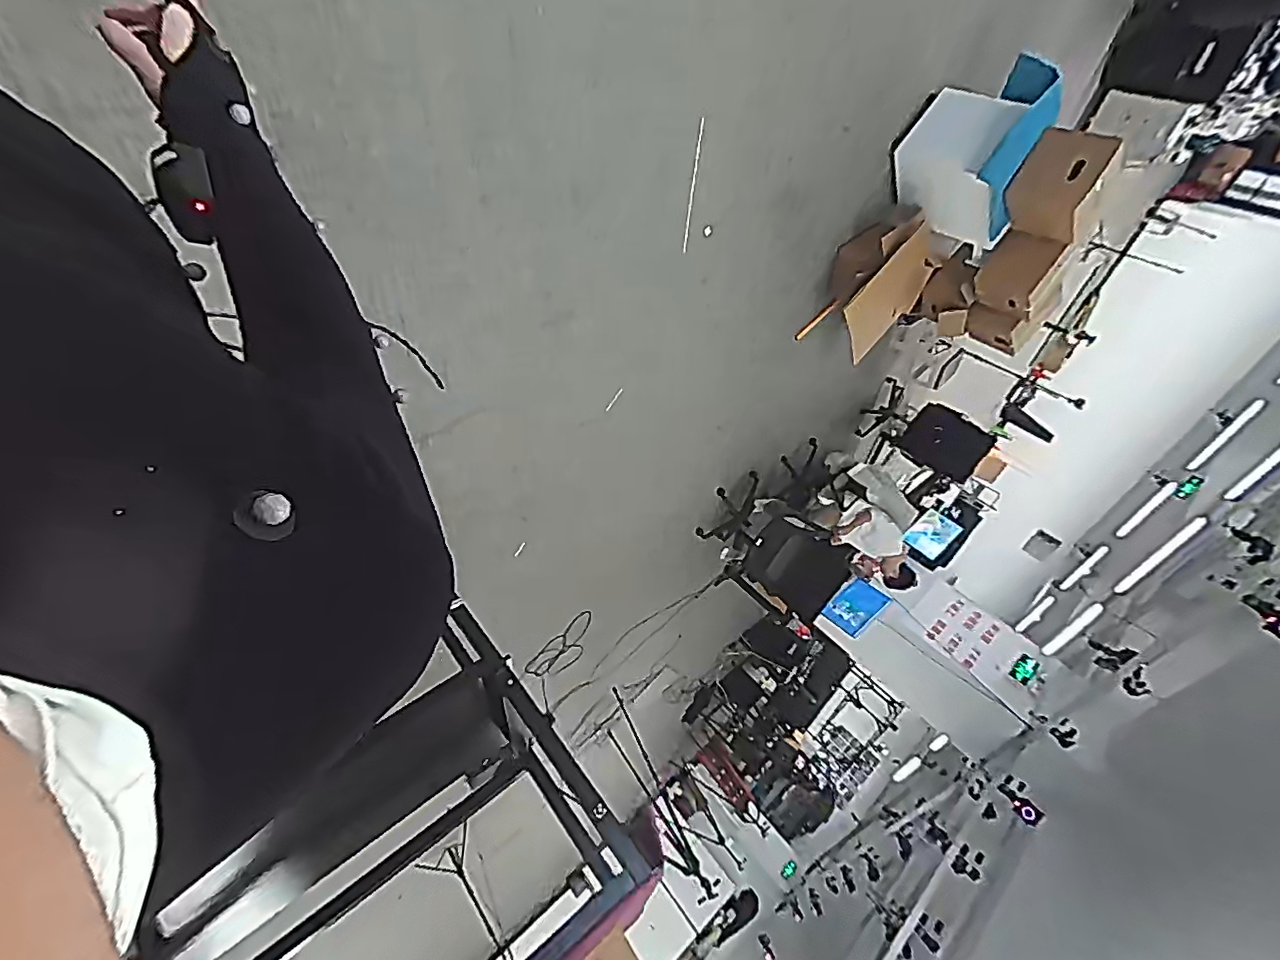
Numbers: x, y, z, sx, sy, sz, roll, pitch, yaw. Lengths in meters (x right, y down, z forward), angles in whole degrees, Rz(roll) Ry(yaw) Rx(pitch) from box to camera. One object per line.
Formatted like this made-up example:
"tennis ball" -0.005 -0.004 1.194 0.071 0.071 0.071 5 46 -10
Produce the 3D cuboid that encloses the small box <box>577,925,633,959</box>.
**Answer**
"small box" -0.091 1.227 1.298 0.179 0.176 0.168 -28 146 -28
